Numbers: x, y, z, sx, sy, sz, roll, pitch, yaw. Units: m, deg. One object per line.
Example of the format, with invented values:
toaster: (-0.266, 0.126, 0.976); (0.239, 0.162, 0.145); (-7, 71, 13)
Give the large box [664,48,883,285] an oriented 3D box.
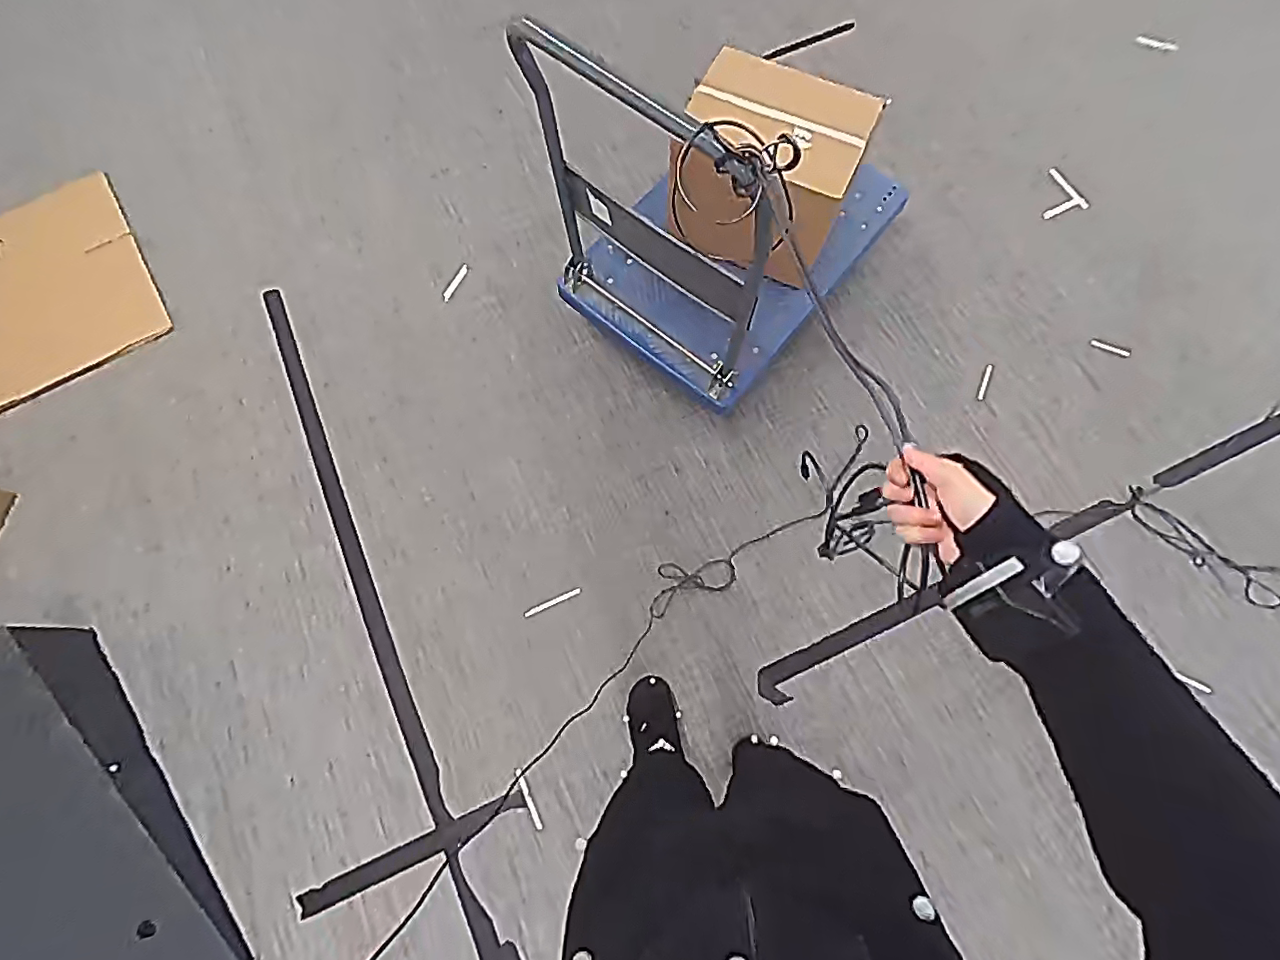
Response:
large box: (0.305, -0.759, 1.343); (0.408, 0.320, 0.320); (25, 76, 7)
